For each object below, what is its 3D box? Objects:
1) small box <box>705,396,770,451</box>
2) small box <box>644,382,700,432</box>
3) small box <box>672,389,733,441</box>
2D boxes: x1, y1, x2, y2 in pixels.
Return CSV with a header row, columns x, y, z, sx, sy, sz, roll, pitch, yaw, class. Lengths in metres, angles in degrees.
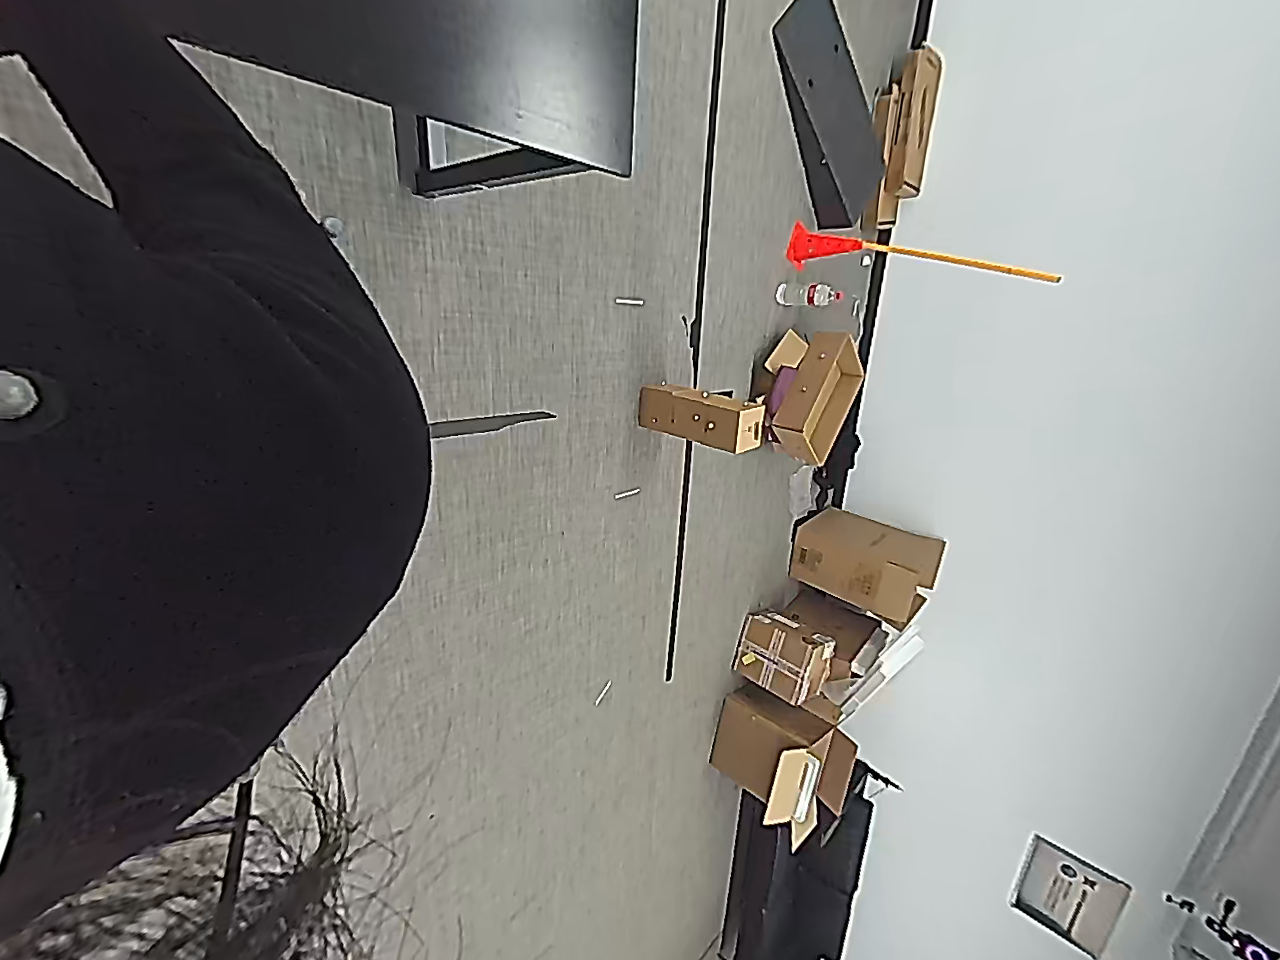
x,y,z,sx,sy,sz,roll,pitch,yaw,class
0.371,-0.220,2.067,0.179,0.176,0.168,-18,118,-43,small box
0.133,-0.311,2.275,0.168,0.176,0.179,-17,116,-45,small box
0.251,-0.267,2.170,0.179,0.176,0.168,-19,118,-45,small box
